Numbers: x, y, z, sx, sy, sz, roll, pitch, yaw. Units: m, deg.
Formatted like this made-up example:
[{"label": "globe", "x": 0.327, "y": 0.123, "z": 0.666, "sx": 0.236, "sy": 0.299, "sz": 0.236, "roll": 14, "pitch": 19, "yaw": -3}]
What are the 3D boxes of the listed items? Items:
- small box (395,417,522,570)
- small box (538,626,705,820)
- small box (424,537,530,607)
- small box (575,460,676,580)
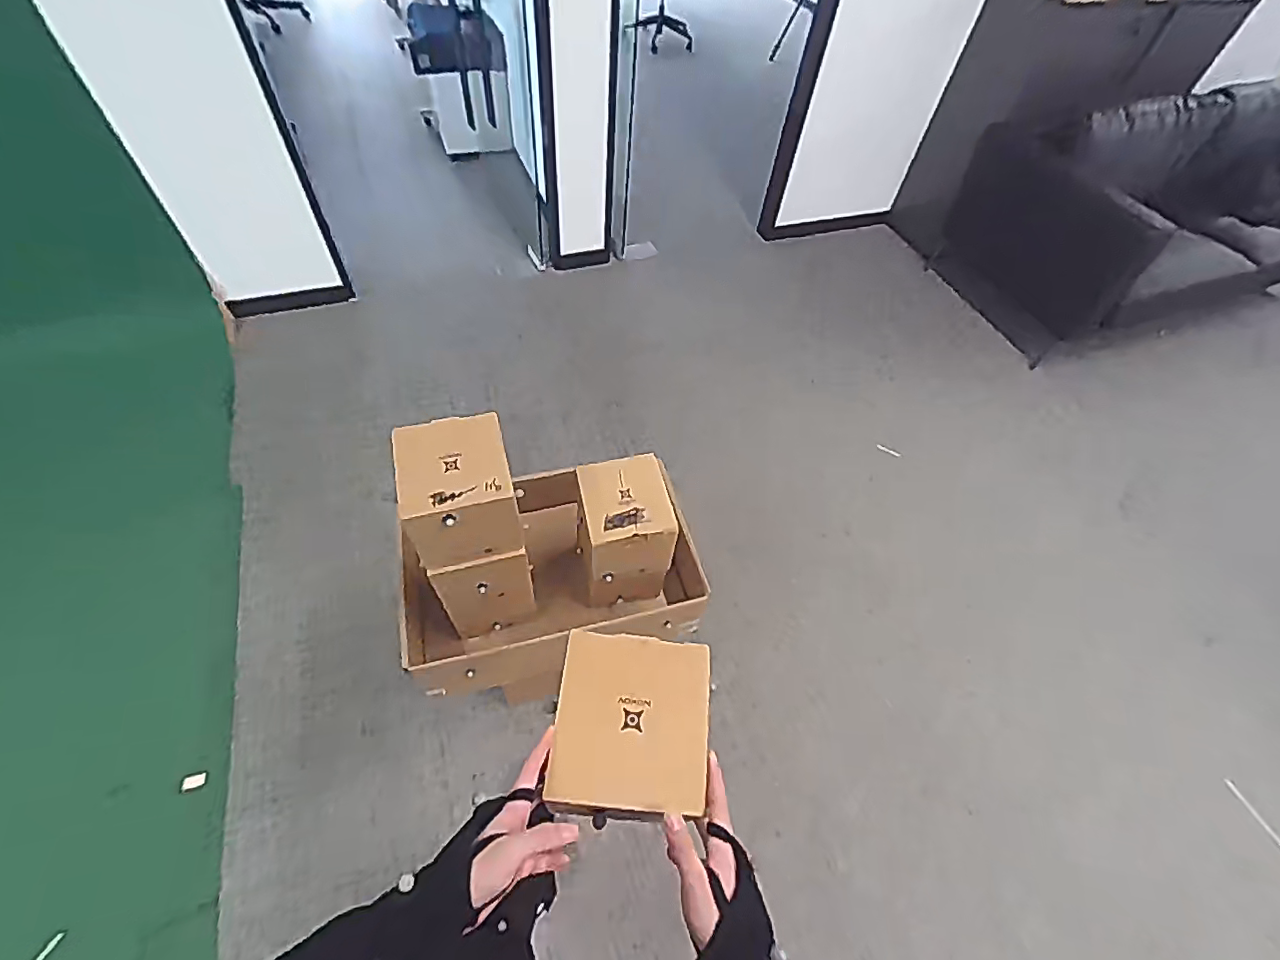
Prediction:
[{"label": "small box", "x": -0.297, "y": 0.023, "z": 0.898, "sx": 0.168, "sy": 0.176, "sz": 0.179, "roll": -12, "pitch": 56, "yaw": -14}, {"label": "small box", "x": -0.018, "y": 0.296, "z": 0.648, "sx": 0.168, "sy": 0.176, "sz": 0.179, "roll": 7, "pitch": 54, "yaw": -1}, {"label": "small box", "x": -0.309, "y": 0.126, "z": 1.026, "sx": 0.168, "sy": 0.176, "sz": 0.179, "roll": -11, "pitch": 57, "yaw": -14}, {"label": "small box", "x": -0.034, "y": 0.087, "z": 1.084, "sx": 0.168, "sy": 0.176, "sz": 0.179, "roll": -8, "pitch": 55, "yaw": -11}]
